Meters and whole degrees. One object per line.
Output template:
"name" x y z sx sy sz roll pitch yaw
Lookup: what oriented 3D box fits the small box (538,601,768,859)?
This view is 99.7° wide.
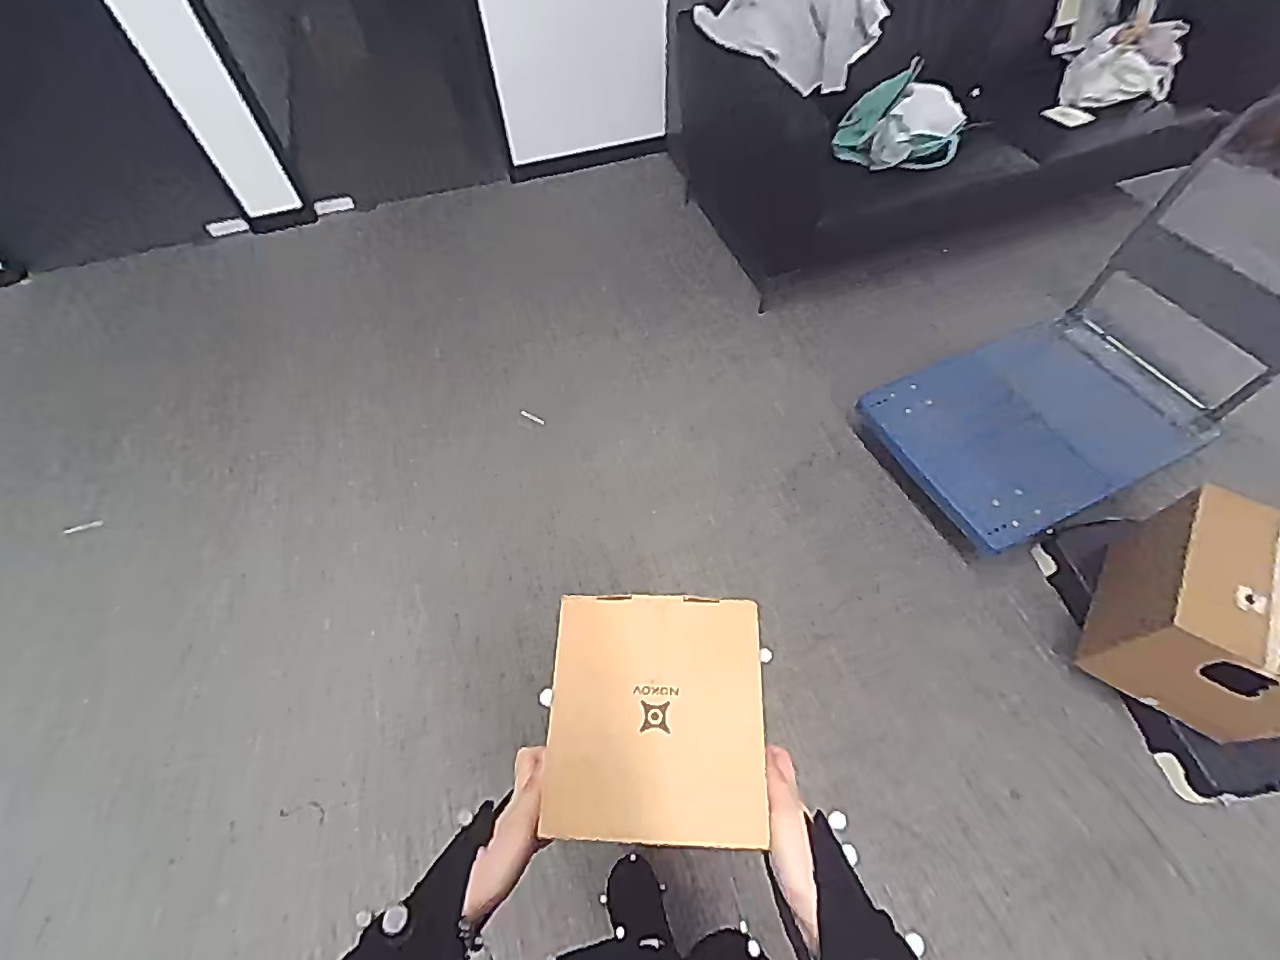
"small box" 0.016 0.216 0.484 0.168 0.176 0.179 1 63 3
